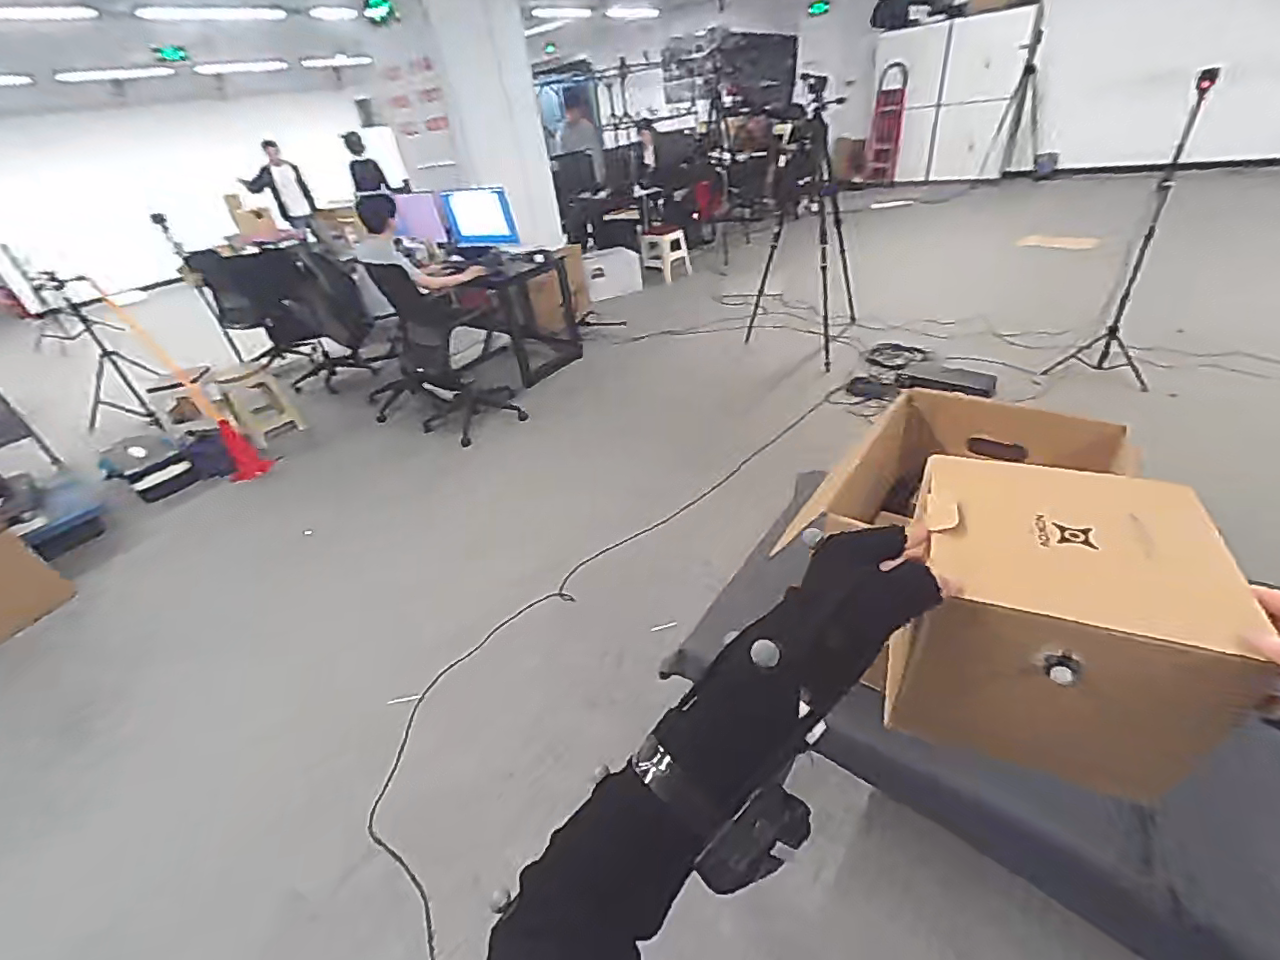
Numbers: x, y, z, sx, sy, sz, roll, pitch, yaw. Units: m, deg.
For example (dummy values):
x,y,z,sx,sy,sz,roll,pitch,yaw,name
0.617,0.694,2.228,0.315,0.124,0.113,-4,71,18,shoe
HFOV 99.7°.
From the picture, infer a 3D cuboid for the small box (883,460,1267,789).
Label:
x,y,z,sx,sy,sz,roll,pitch,yaw,name
0.299,0.107,0.427,0.179,0.176,0.168,10,39,21,small box
